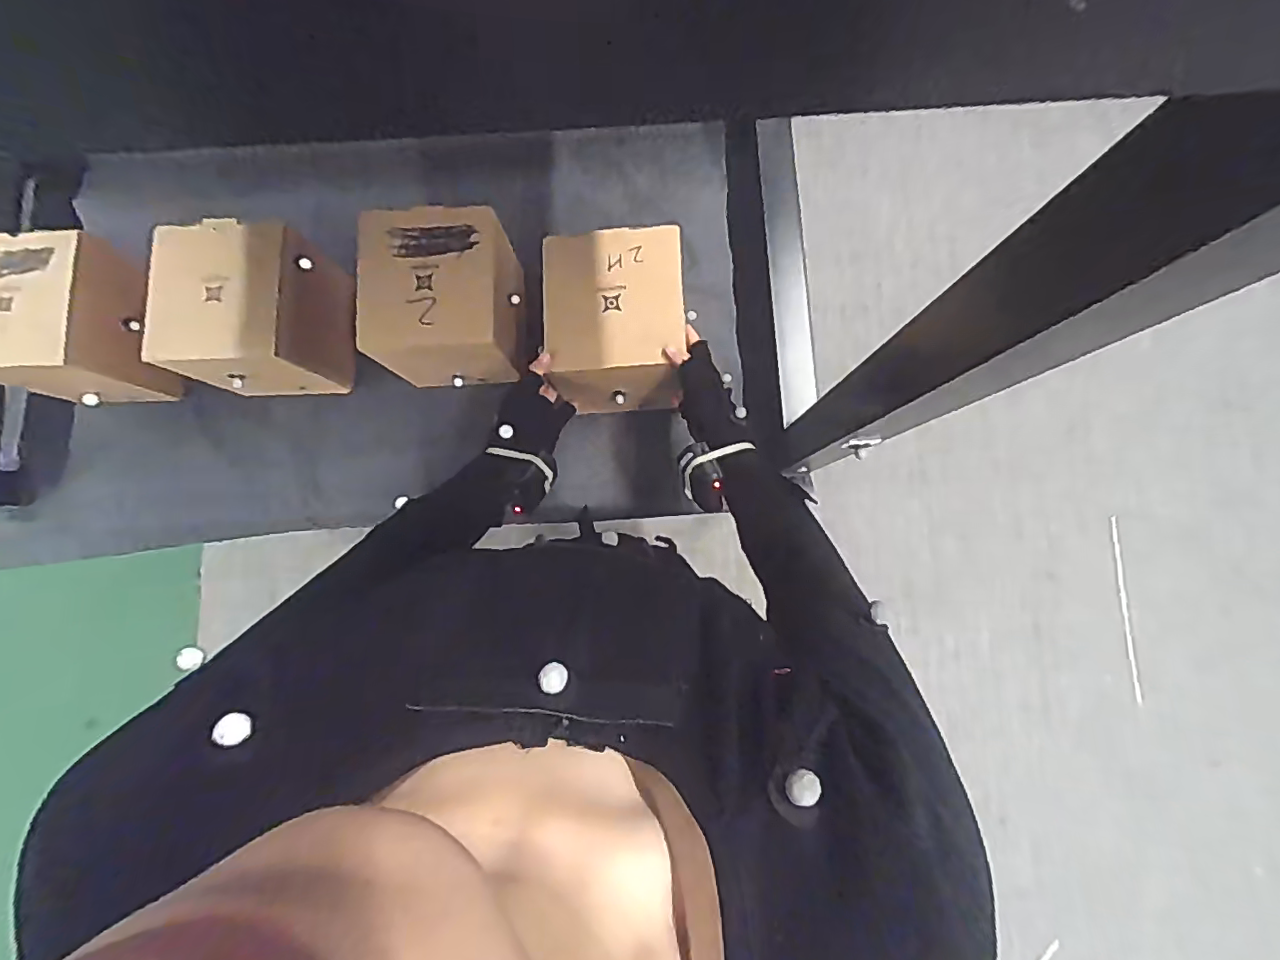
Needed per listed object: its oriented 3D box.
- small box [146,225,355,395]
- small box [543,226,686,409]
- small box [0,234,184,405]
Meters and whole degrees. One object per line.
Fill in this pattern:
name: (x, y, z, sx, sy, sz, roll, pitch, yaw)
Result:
small box: (-0.514, -0.218, 0.739, 0.168, 0.176, 0.179, -2, 83, 1)
small box: (-0.026, -0.198, 0.712, 0.168, 0.176, 0.179, -4, 79, 4)
small box: (-0.767, -0.209, 0.741, 0.168, 0.176, 0.179, -1, 84, 1)
